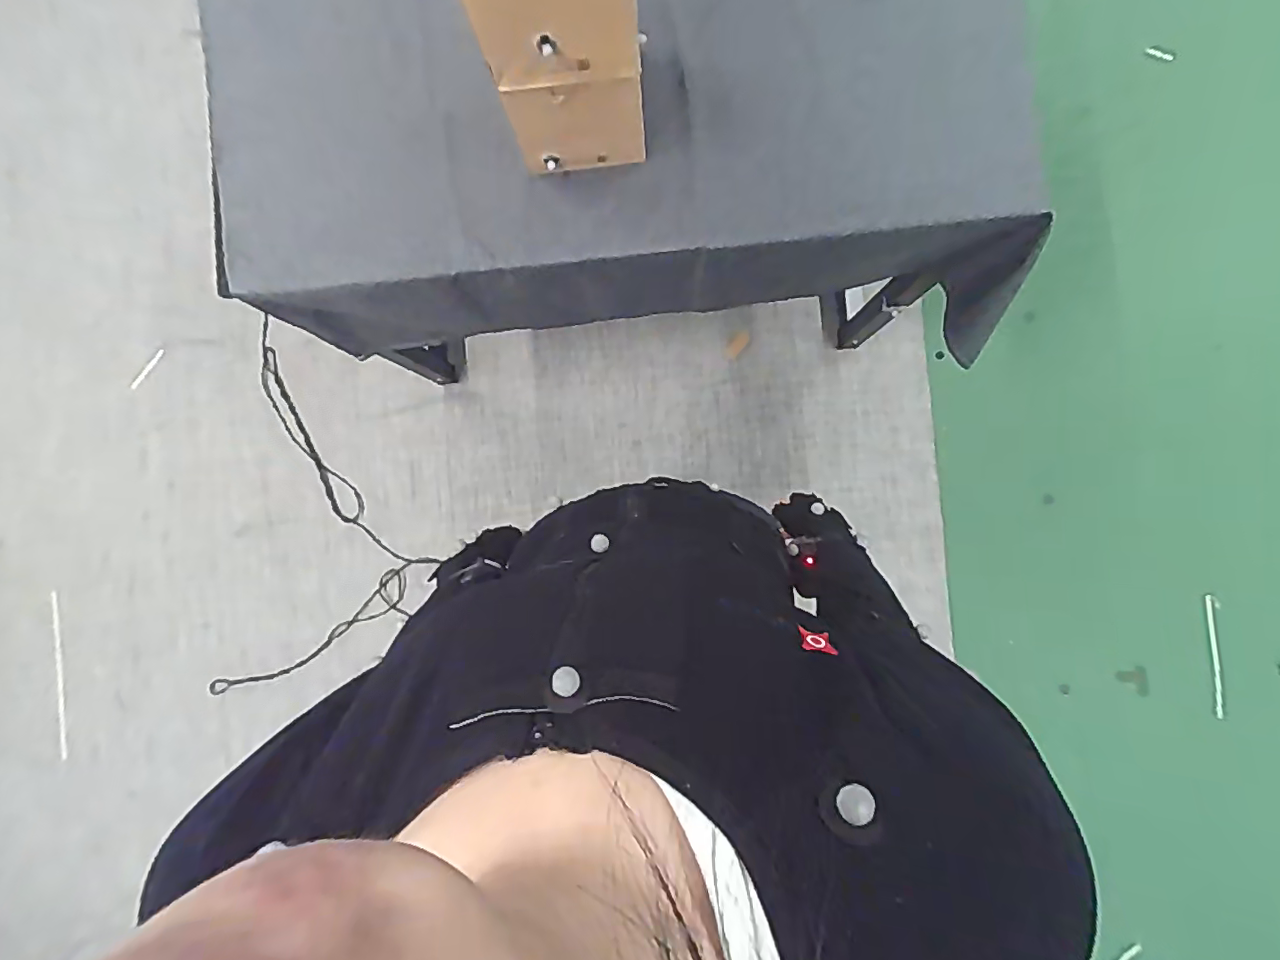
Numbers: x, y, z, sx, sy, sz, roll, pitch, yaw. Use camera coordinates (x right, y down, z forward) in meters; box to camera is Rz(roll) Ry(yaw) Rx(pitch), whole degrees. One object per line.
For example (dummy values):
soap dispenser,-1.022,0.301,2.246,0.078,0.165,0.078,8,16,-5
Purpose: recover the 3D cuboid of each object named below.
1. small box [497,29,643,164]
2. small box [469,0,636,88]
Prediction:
small box,-0.087,-0.544,0.710,0.168,0.176,0.179,-5,87,3
small box,-0.094,-0.549,0.549,0.168,0.176,0.179,-5,88,2
